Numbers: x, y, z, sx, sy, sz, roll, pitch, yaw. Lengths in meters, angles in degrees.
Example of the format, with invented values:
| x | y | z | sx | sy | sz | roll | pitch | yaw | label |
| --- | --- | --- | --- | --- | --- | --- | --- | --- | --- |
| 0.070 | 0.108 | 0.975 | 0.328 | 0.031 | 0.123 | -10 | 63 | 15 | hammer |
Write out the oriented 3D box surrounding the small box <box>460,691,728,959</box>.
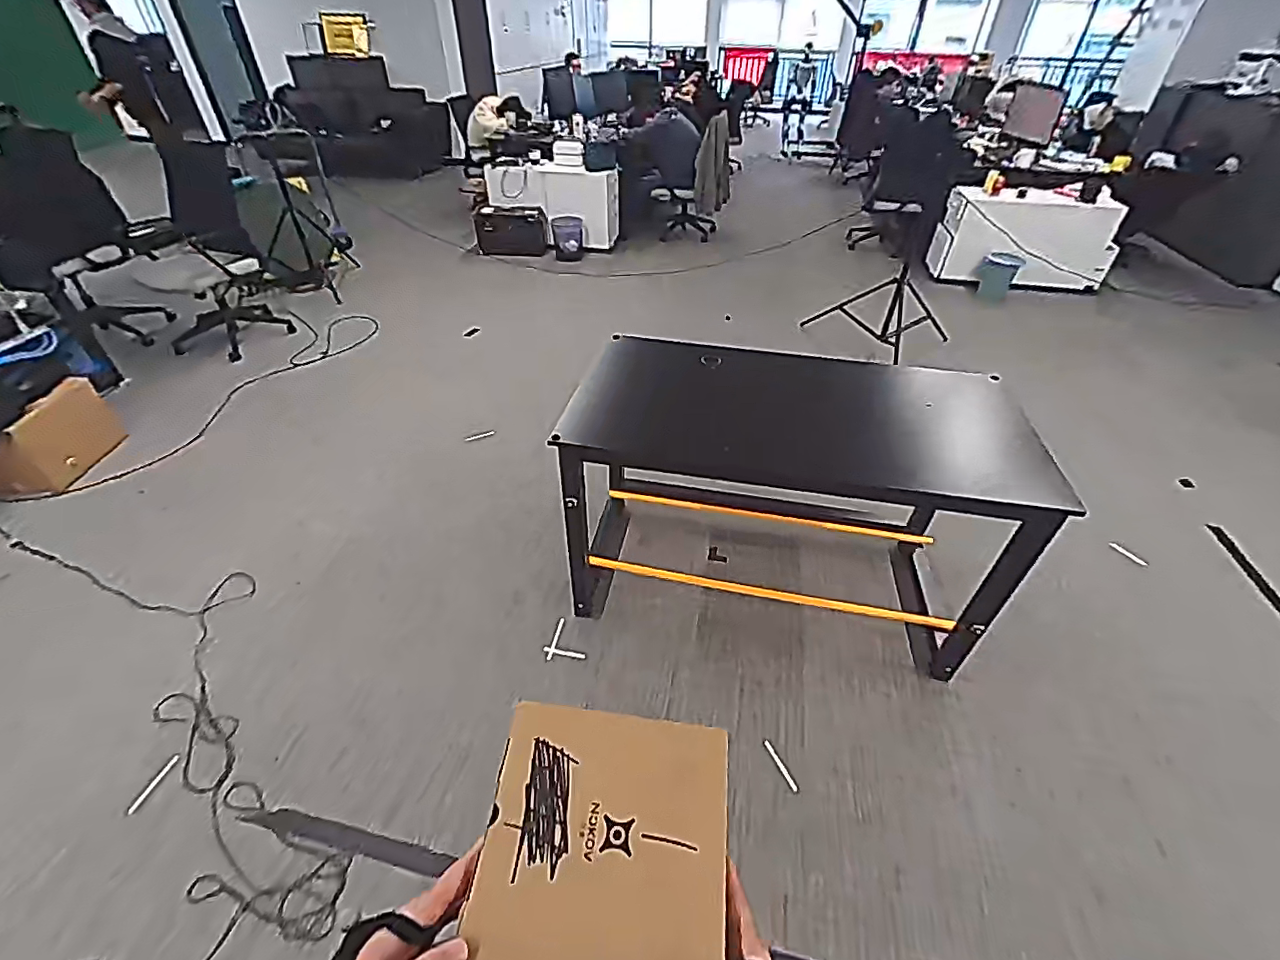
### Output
| x | y | z | sx | sy | sz | roll | pitch | yaw | label |
| --- | --- | --- | --- | --- | --- | --- | --- | --- | --- |
| -0.026 | 0.300 | 0.457 | 0.179 | 0.176 | 0.168 | 7 | 48 | 2 | small box |
